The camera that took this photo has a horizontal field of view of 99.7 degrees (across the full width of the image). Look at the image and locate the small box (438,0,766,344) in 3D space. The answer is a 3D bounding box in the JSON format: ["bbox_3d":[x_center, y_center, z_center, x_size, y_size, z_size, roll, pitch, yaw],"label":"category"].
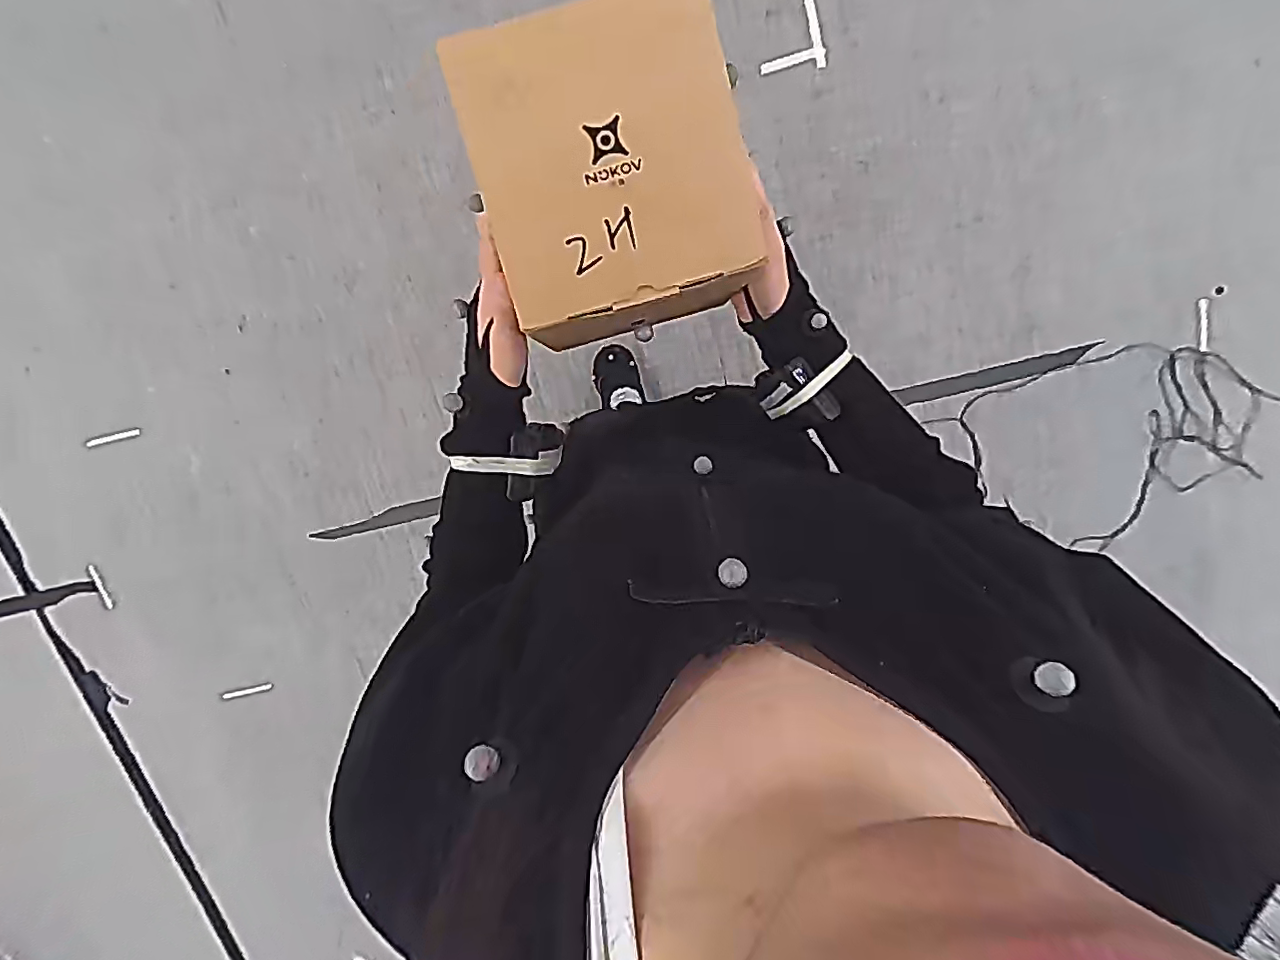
[{"bbox_3d":[-0.023,-0.214,0.406,0.168,0.176,0.179,-15,99,1],"label":"small box"}]
